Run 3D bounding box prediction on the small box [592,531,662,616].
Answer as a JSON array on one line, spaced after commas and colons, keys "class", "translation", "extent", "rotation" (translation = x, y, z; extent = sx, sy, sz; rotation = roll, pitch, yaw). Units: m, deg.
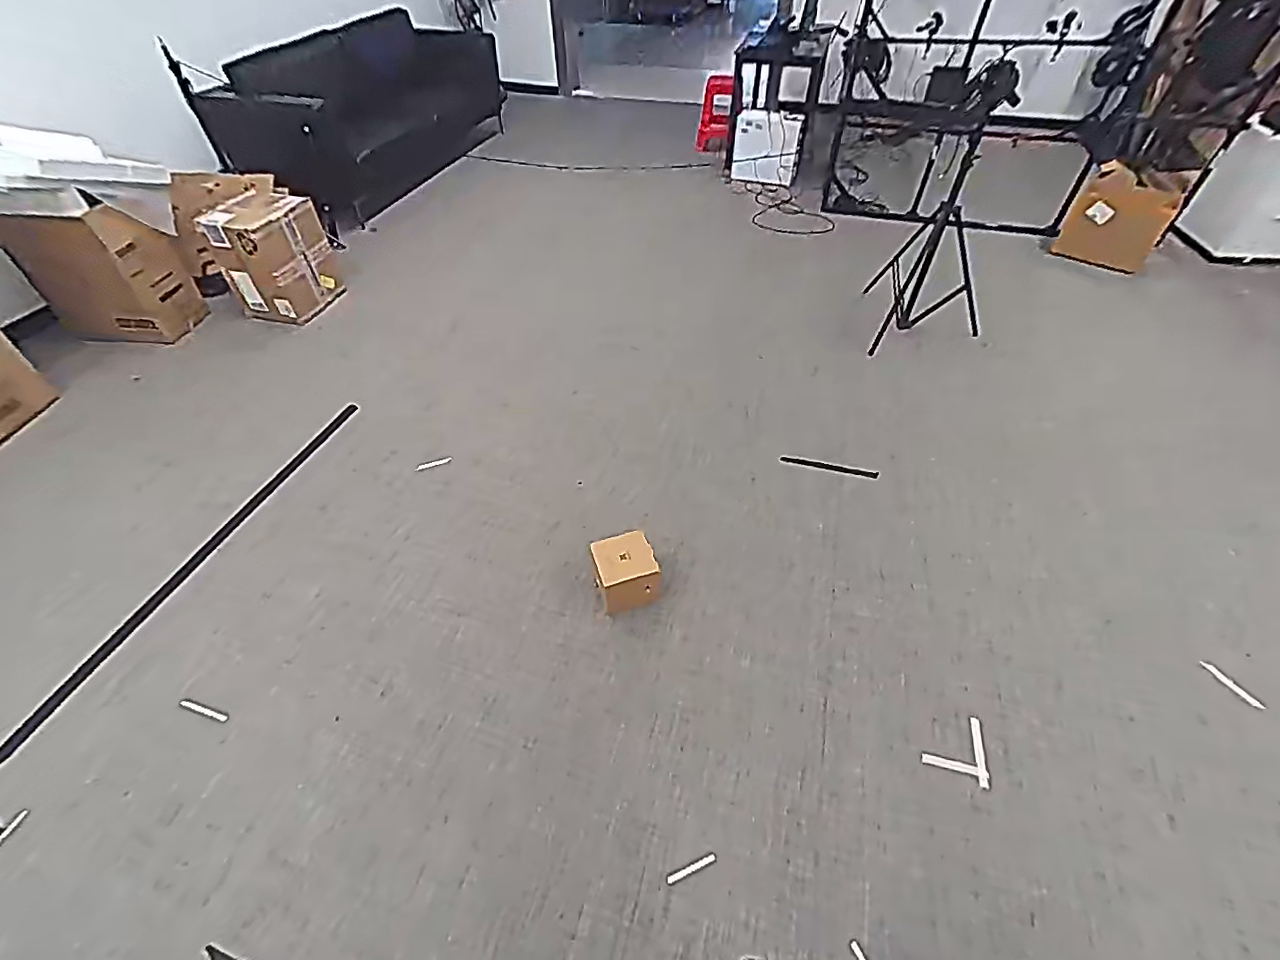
[{"class": "small box", "translation": [-0.041, 0.291, 1.673], "extent": [0.179, 0.176, 0.168], "rotation": [-16, 48, -12]}]
